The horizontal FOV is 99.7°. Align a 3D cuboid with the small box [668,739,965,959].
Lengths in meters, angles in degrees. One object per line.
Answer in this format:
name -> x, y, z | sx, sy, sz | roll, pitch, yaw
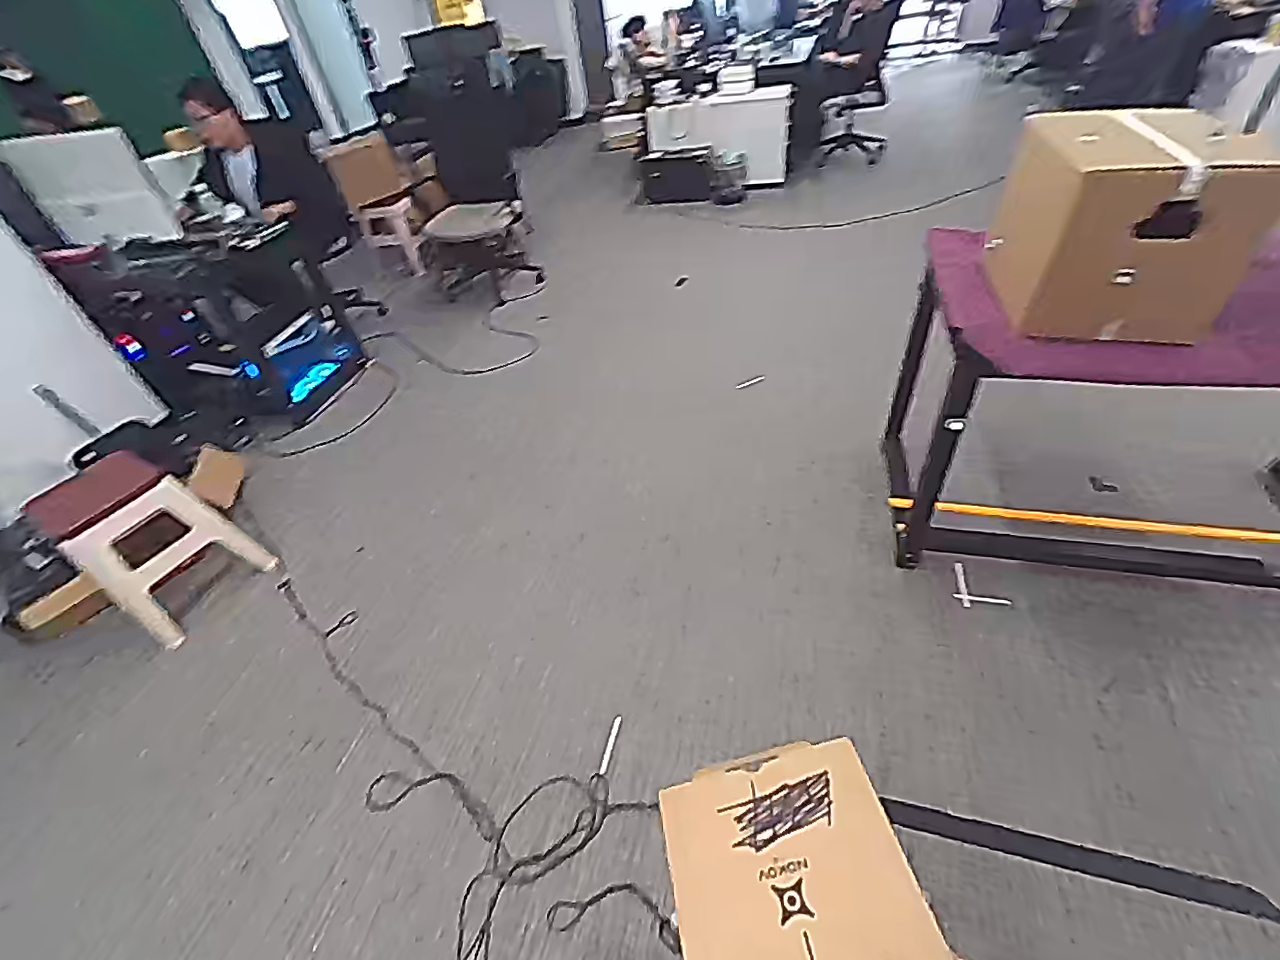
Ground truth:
small box -> 0.134, 0.345, 0.419 | 0.168, 0.176, 0.179 | -20, 33, 3
